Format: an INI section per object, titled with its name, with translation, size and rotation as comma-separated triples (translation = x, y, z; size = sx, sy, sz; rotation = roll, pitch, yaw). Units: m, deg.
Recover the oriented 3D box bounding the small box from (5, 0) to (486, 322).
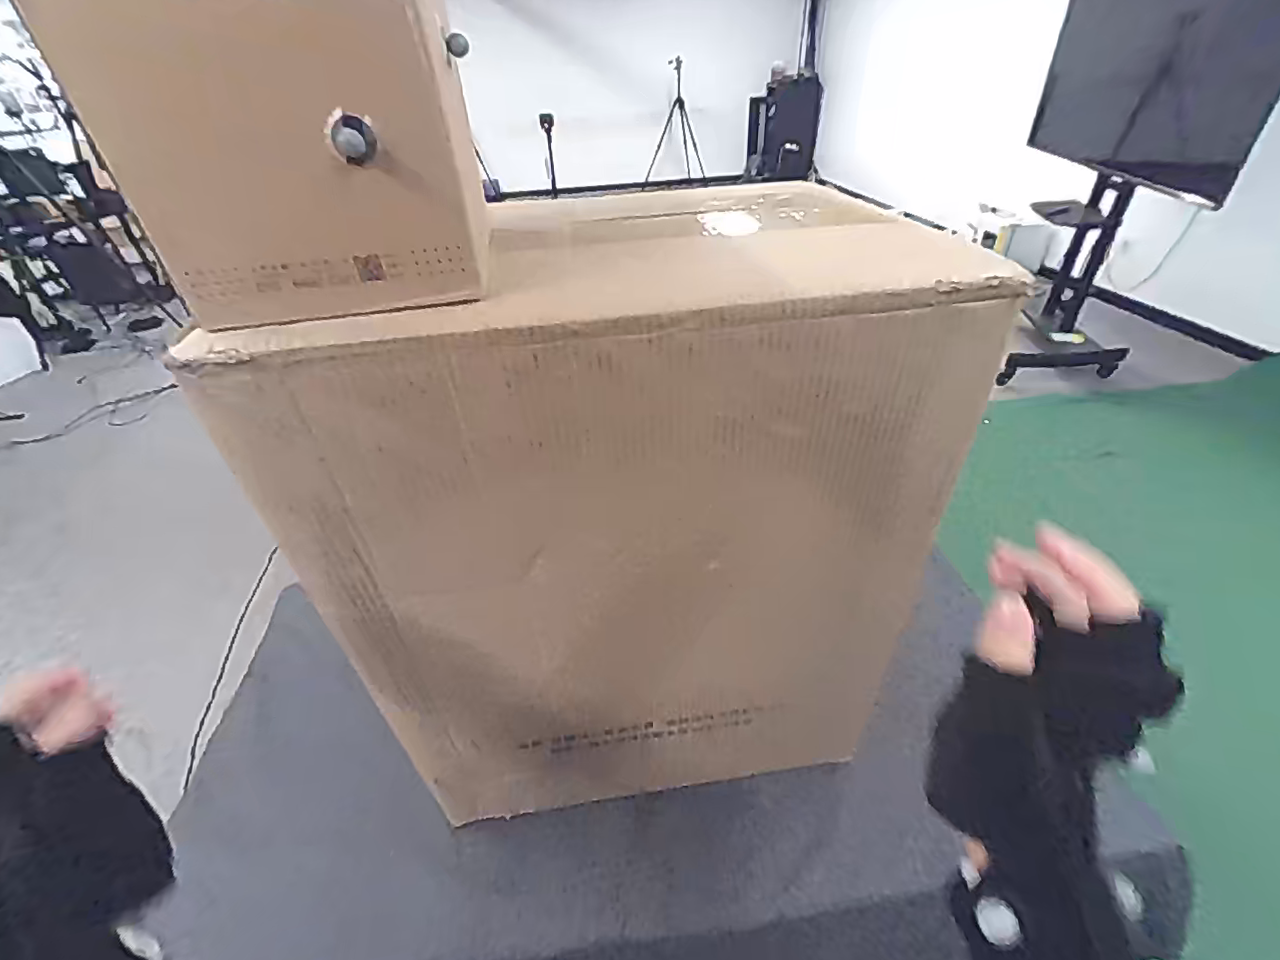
[small box]
translation = -0.199, -0.208, 0.345
size = 0.168, 0.176, 0.179
rotation = -8, 38, -8
